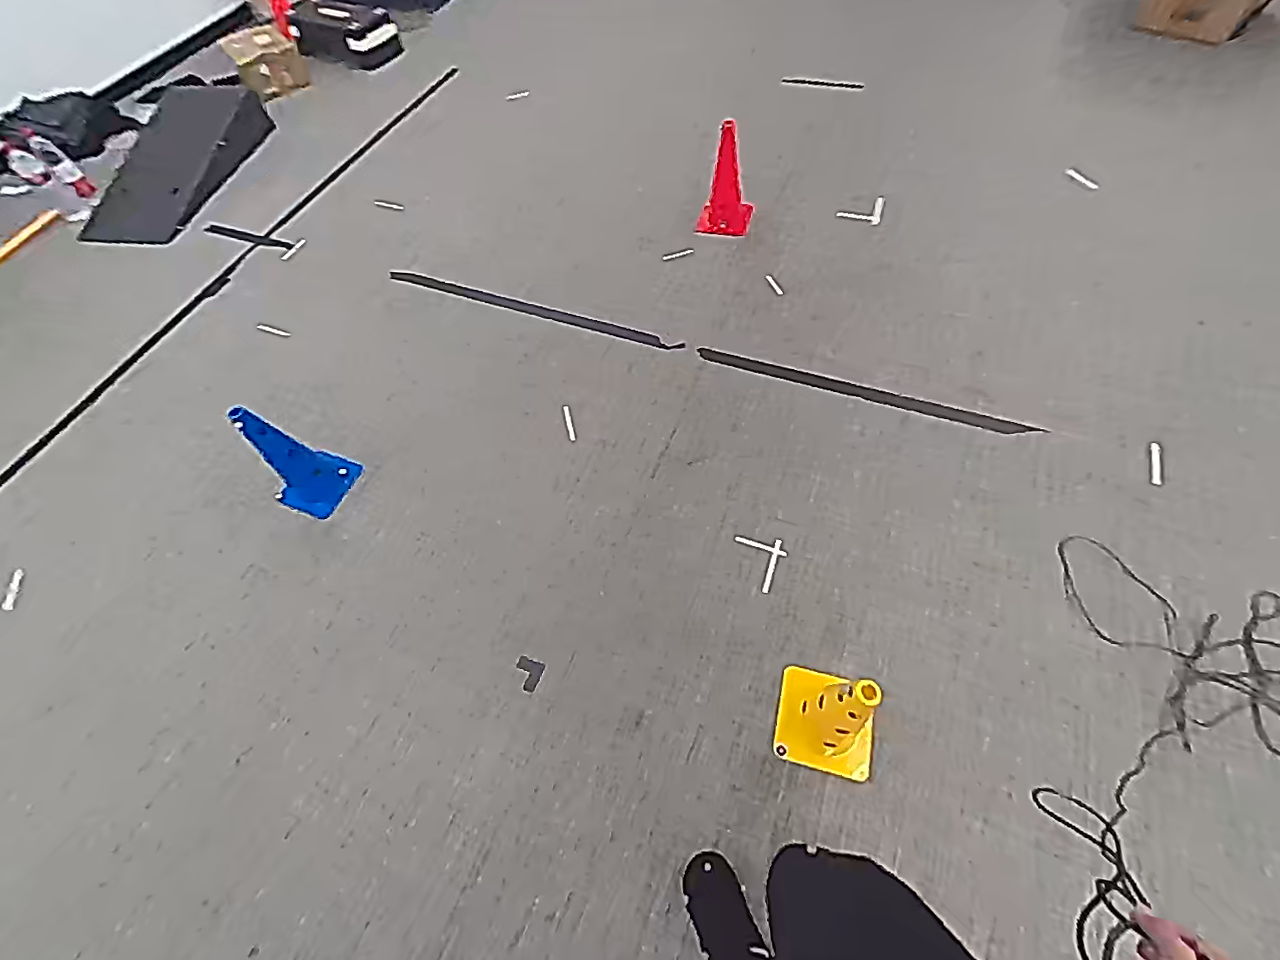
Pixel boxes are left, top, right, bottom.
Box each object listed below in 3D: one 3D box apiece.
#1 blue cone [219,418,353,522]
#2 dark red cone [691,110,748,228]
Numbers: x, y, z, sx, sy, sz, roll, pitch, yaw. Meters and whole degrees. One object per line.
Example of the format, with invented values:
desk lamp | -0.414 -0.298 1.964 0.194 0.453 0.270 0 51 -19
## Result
blue cone | -1.002 -0.055 1.500 0.193 0.380 0.192 18 64 16
dark red cone | 0.299 -1.140 1.982 0.202 0.394 0.201 10 62 12
